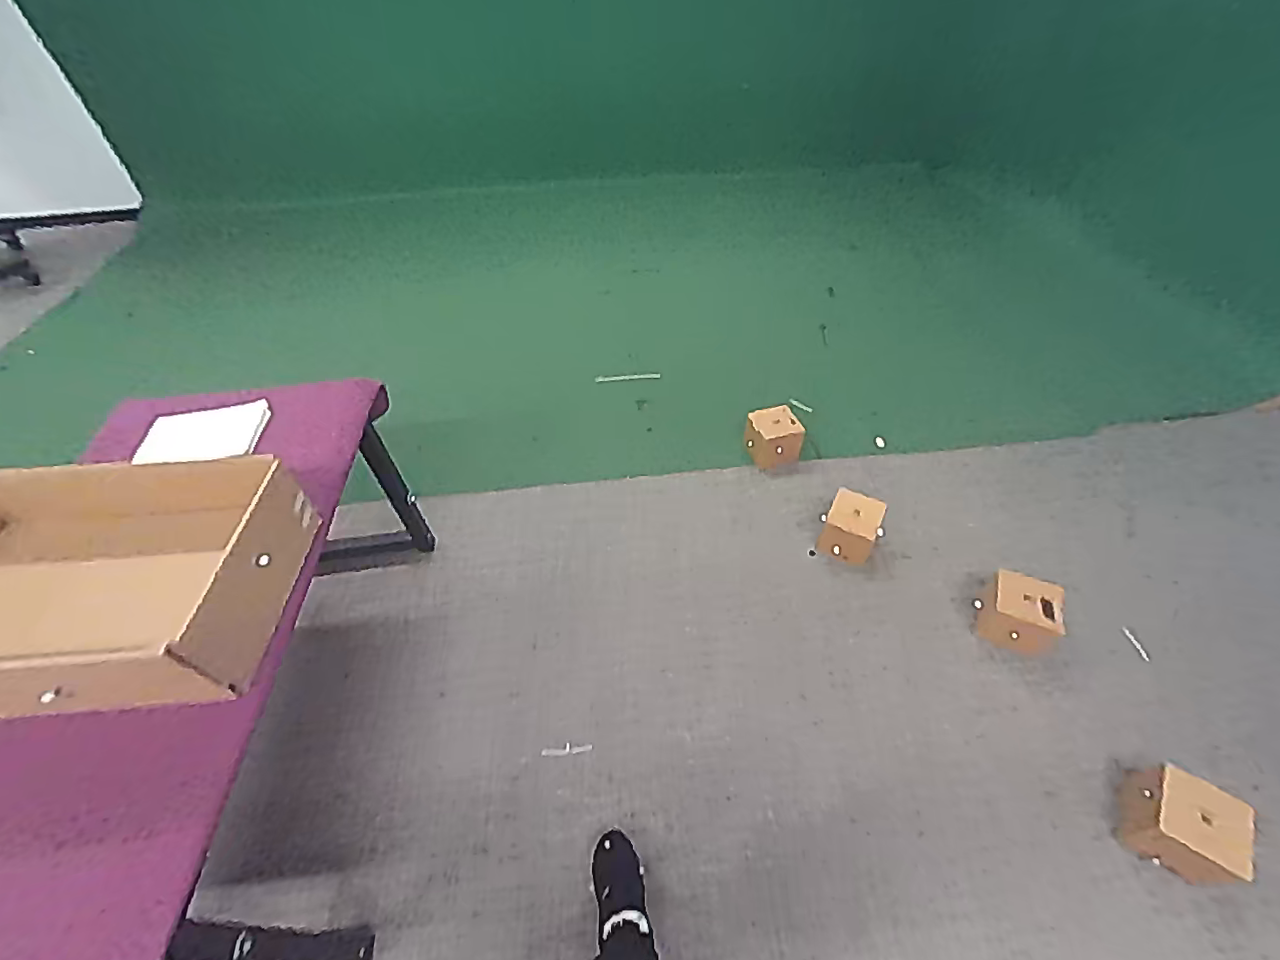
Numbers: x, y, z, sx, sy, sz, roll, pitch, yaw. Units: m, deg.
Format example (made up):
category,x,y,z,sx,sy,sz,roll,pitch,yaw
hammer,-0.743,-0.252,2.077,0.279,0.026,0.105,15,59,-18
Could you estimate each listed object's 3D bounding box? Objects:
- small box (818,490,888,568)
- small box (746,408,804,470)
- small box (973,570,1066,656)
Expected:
category,x,y,z,sx,sy,sz,roll,pitch,yaw
small box,0.733,0.172,1.876,0.168,0.176,0.179,22,53,21
small box,0.538,-0.162,2.186,0.179,0.176,0.168,-14,49,-10
small box,1.148,0.409,1.639,0.179,0.176,0.168,19,51,19
